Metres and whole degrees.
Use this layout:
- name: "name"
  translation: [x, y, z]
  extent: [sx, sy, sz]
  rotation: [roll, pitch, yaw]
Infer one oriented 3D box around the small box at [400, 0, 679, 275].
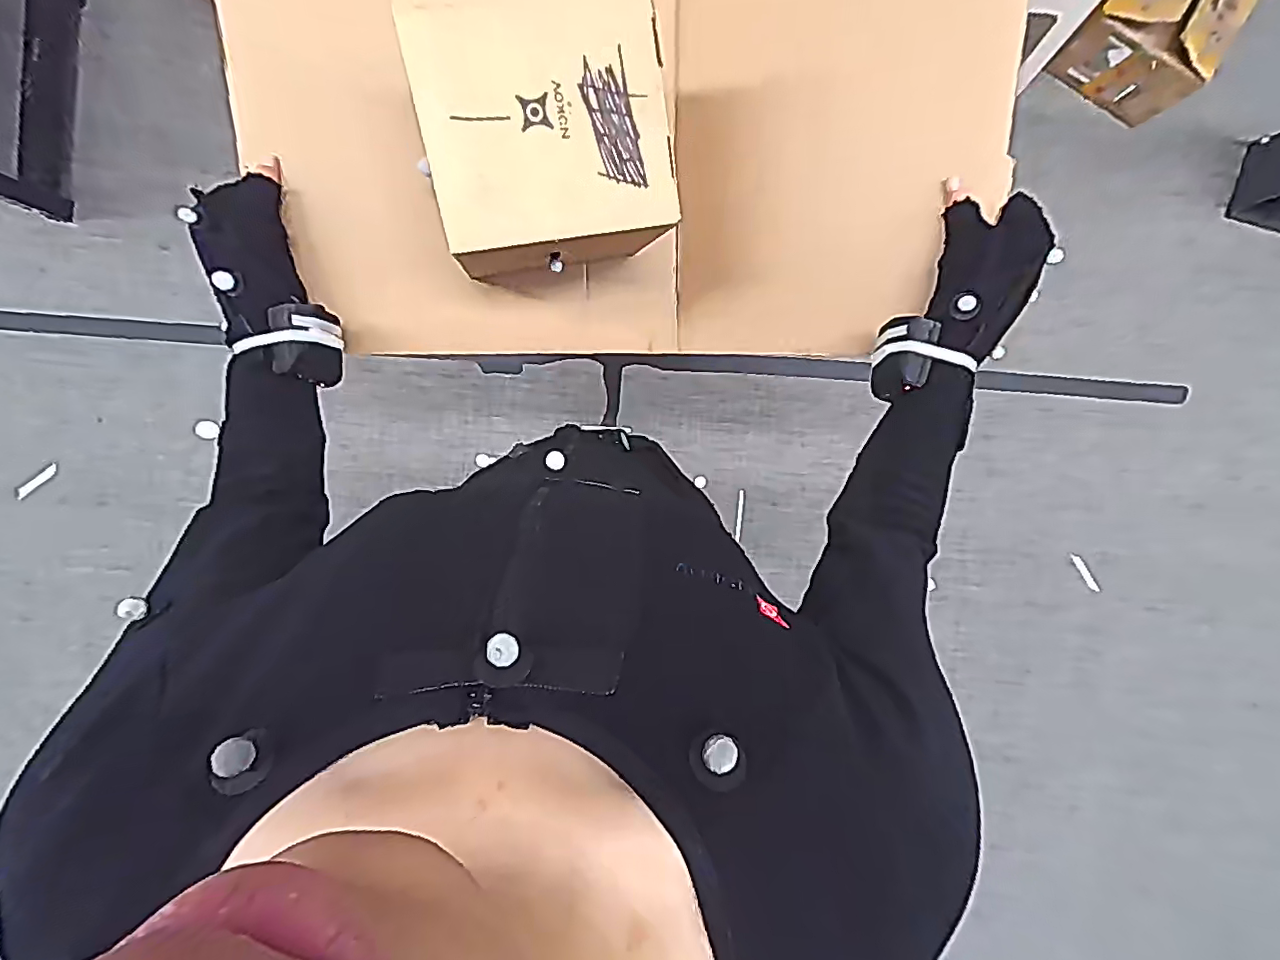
- name: "small box"
  translation: [-0.081, -0.279, 0.464]
  extent: [0.179, 0.176, 0.168]
  rotation: [-12, 107, -9]
